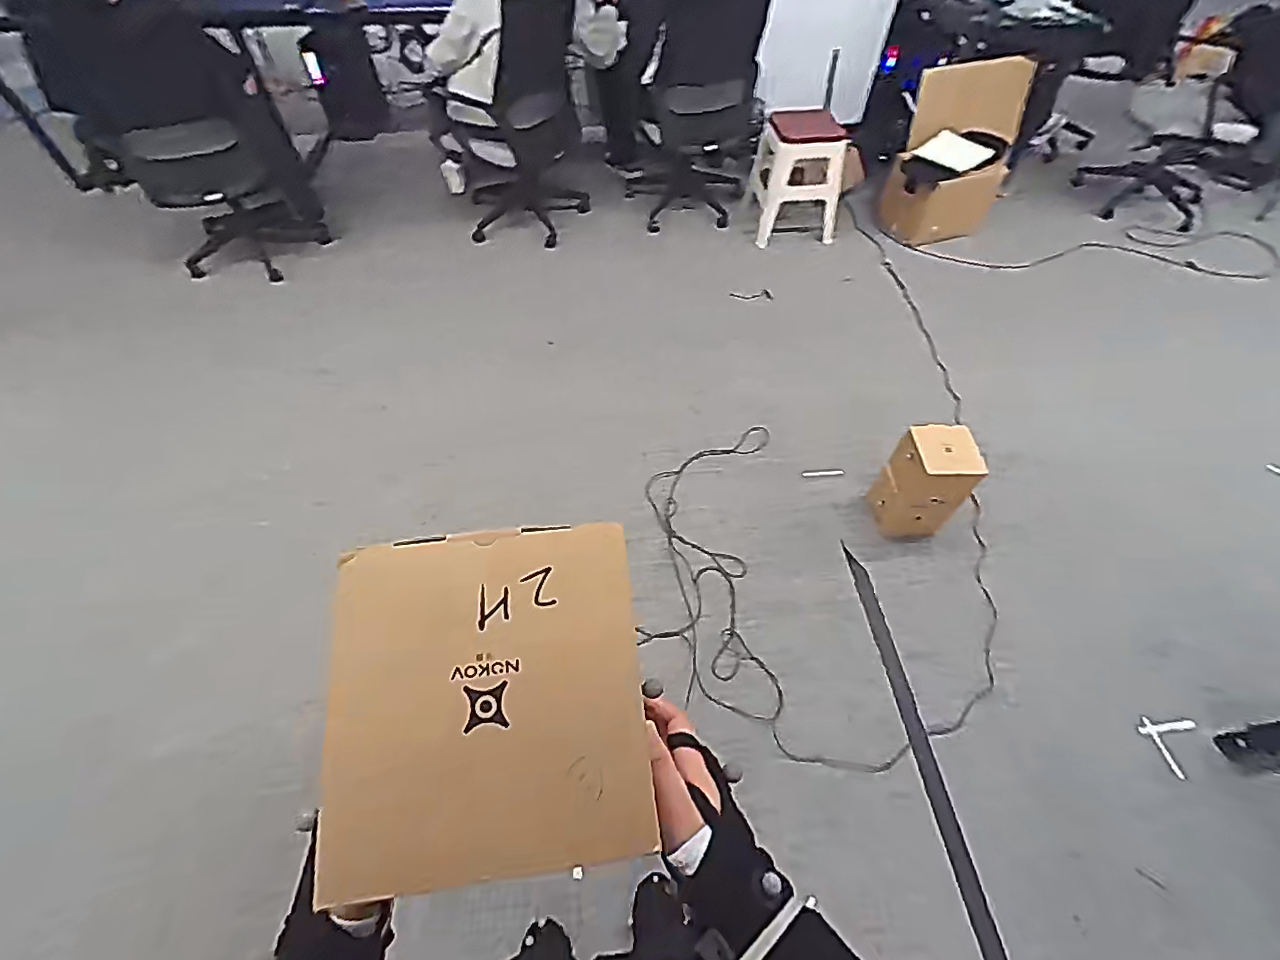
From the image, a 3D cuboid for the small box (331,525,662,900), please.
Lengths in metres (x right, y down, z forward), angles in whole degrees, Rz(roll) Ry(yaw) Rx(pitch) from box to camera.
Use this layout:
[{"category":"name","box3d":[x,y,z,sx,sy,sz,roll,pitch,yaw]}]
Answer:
[{"category":"small box","box3d":[-0.082,0.143,0.368,0.168,0.176,0.179,-5,68,-6]}]

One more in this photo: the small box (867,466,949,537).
[{"category":"small box","box3d":[0.833,0.065,1.690,0.179,0.176,0.168,-5,54,-3]}]

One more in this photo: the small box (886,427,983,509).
[{"category":"small box","box3d":[0.838,-0.035,1.560,0.168,0.176,0.179,-1,55,0]}]
